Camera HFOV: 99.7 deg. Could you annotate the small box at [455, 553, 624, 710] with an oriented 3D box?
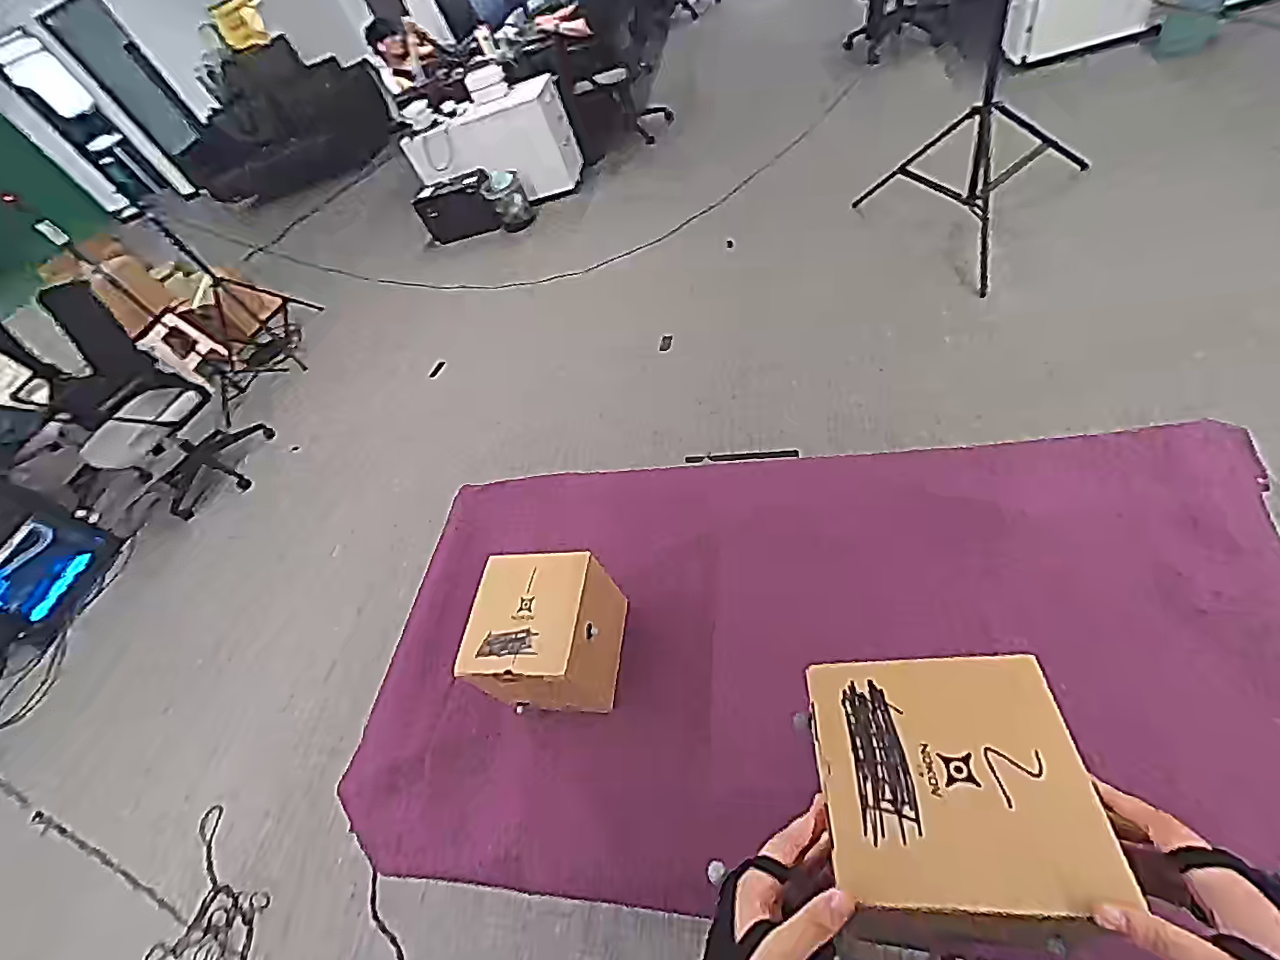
[{"bbox_3d":[-0.132,0.225,0.788,0.168,0.176,0.179,-5,52,18],"label":"small box"}]
